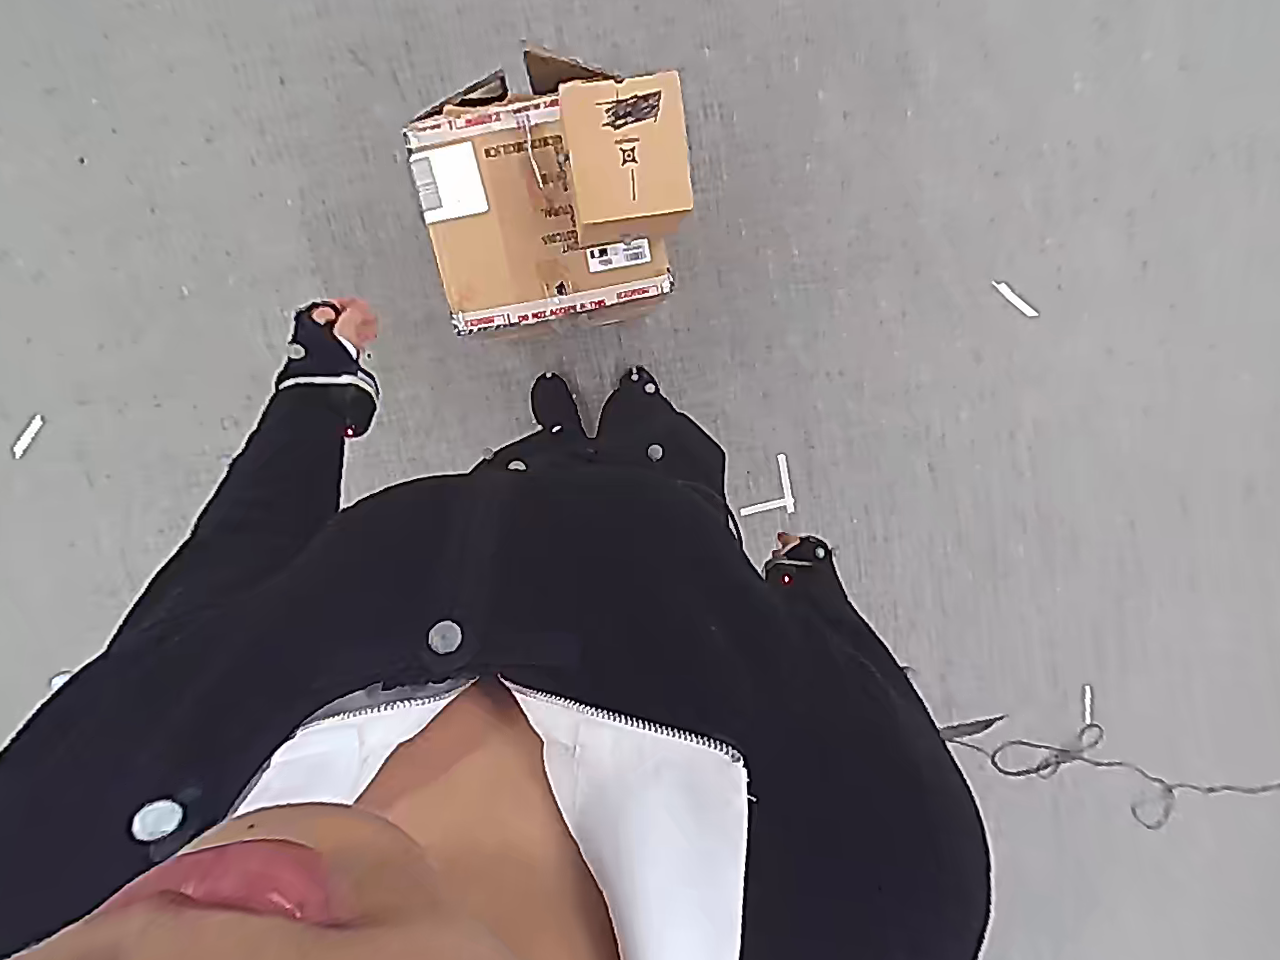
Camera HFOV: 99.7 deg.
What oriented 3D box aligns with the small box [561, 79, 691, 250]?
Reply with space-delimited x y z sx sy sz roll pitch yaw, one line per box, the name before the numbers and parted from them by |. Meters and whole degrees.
small box | -0.027 -0.466 0.822 0.168 0.176 0.179 -10 105 -4
